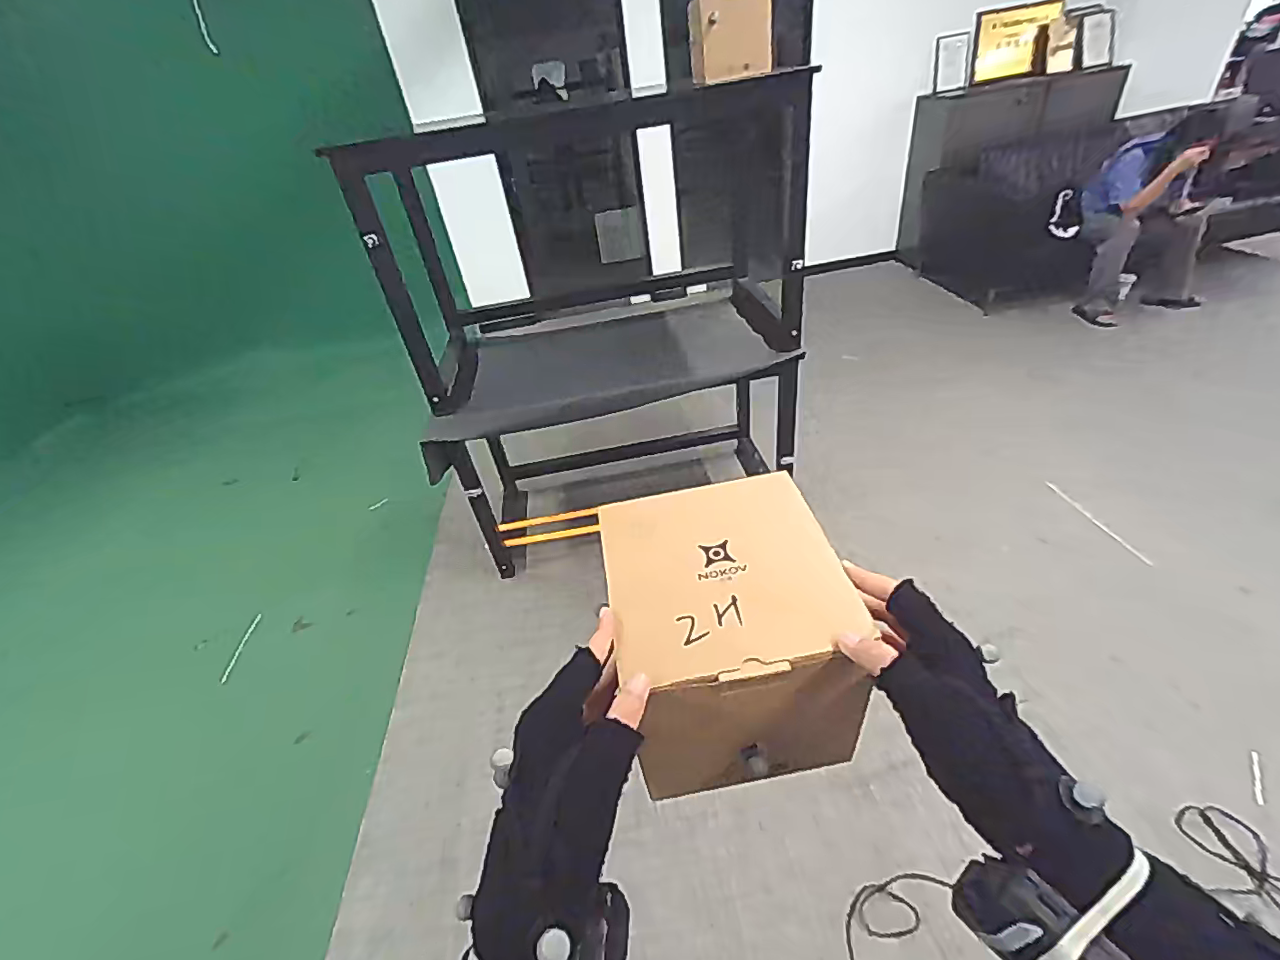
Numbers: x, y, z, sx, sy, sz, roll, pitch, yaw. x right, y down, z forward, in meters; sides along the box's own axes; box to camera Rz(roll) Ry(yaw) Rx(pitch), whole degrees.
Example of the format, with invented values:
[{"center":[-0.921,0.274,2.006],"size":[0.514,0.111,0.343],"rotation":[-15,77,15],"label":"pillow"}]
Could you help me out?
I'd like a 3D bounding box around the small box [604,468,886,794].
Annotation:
[{"center":[0.068,0.118,0.437],"size":[0.168,0.176,0.179],"rotation":[-11,39,-1],"label":"small box"}]
